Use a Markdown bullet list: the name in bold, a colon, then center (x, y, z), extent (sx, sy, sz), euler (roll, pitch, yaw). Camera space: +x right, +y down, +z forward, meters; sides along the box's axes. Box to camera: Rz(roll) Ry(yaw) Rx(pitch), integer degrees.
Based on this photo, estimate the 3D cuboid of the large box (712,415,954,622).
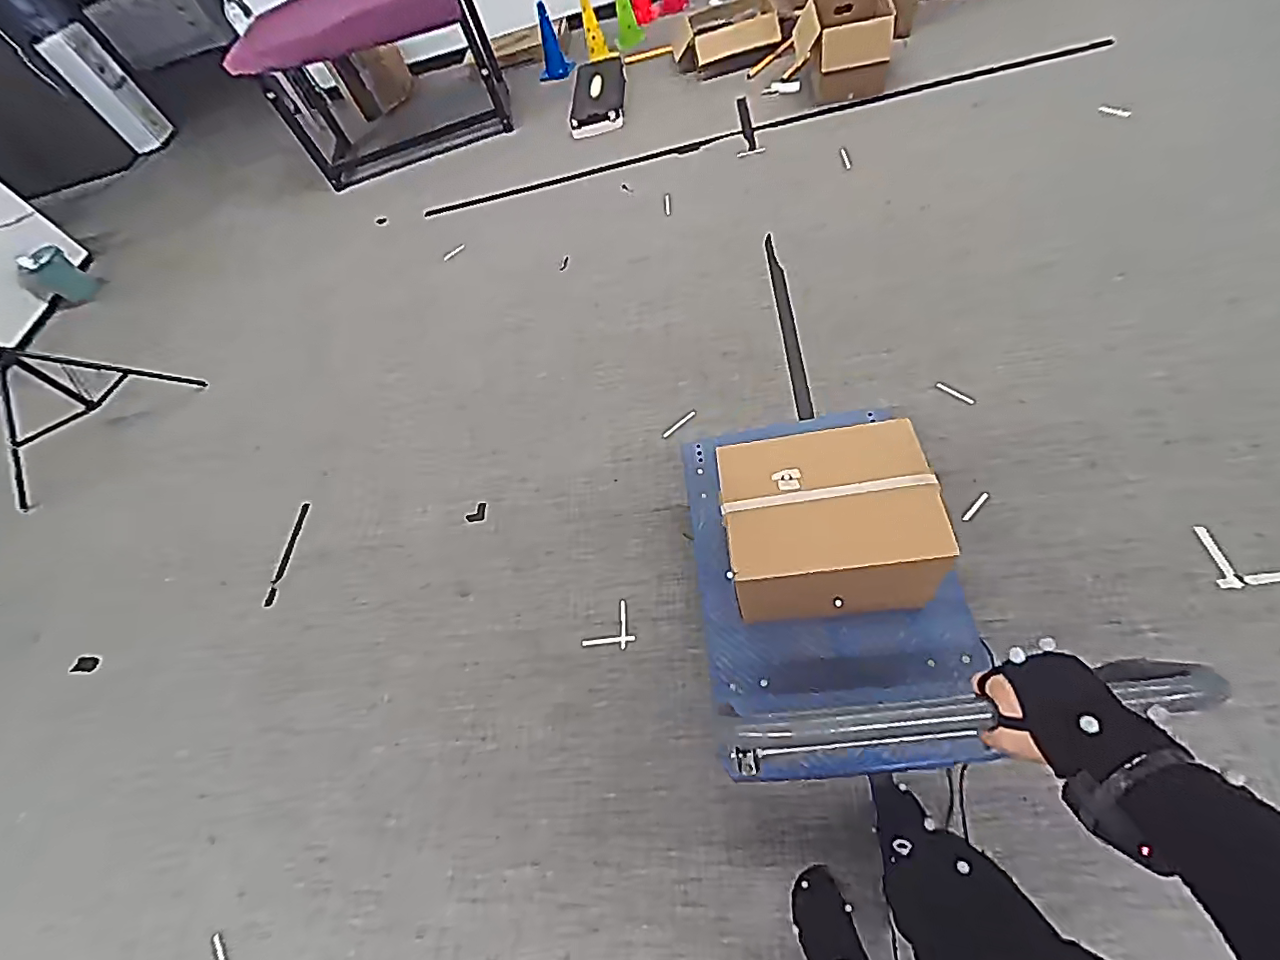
- **large box**: center (0.394, 0.103, 1.190), extent (0.408, 0.320, 0.320), euler (-10, 57, 11)
